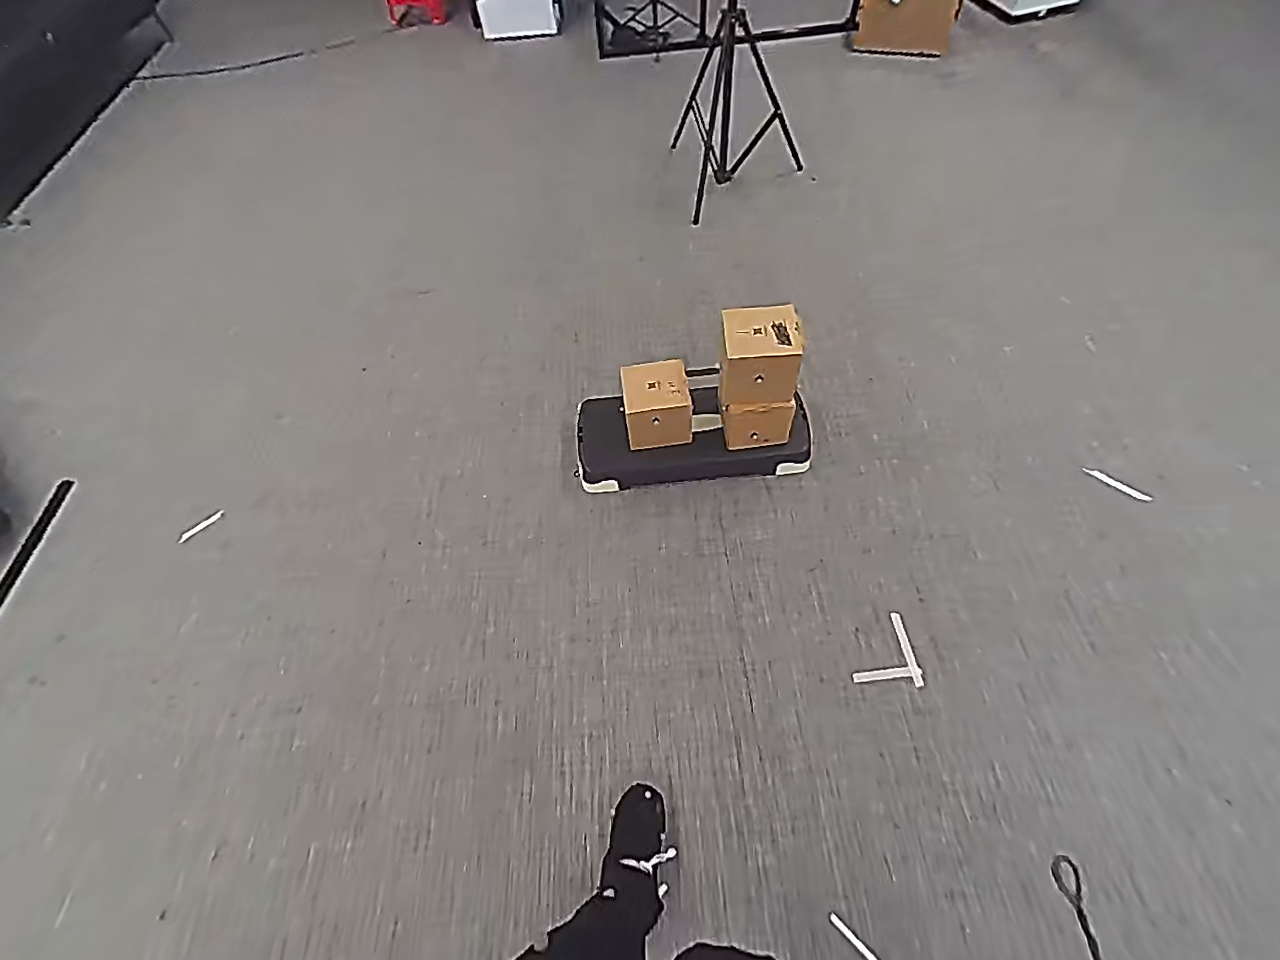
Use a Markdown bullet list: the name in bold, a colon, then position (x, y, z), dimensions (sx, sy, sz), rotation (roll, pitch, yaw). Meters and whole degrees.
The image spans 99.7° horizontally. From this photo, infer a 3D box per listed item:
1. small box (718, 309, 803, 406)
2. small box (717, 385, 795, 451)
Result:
- **small box**: position (0.291, -0.301, 1.346), dimensions (0.179, 0.176, 0.168), rotation (-3, 58, 4)
- **small box**: position (0.308, -0.202, 1.477), dimensions (0.168, 0.176, 0.179), rotation (-7, 59, 0)
